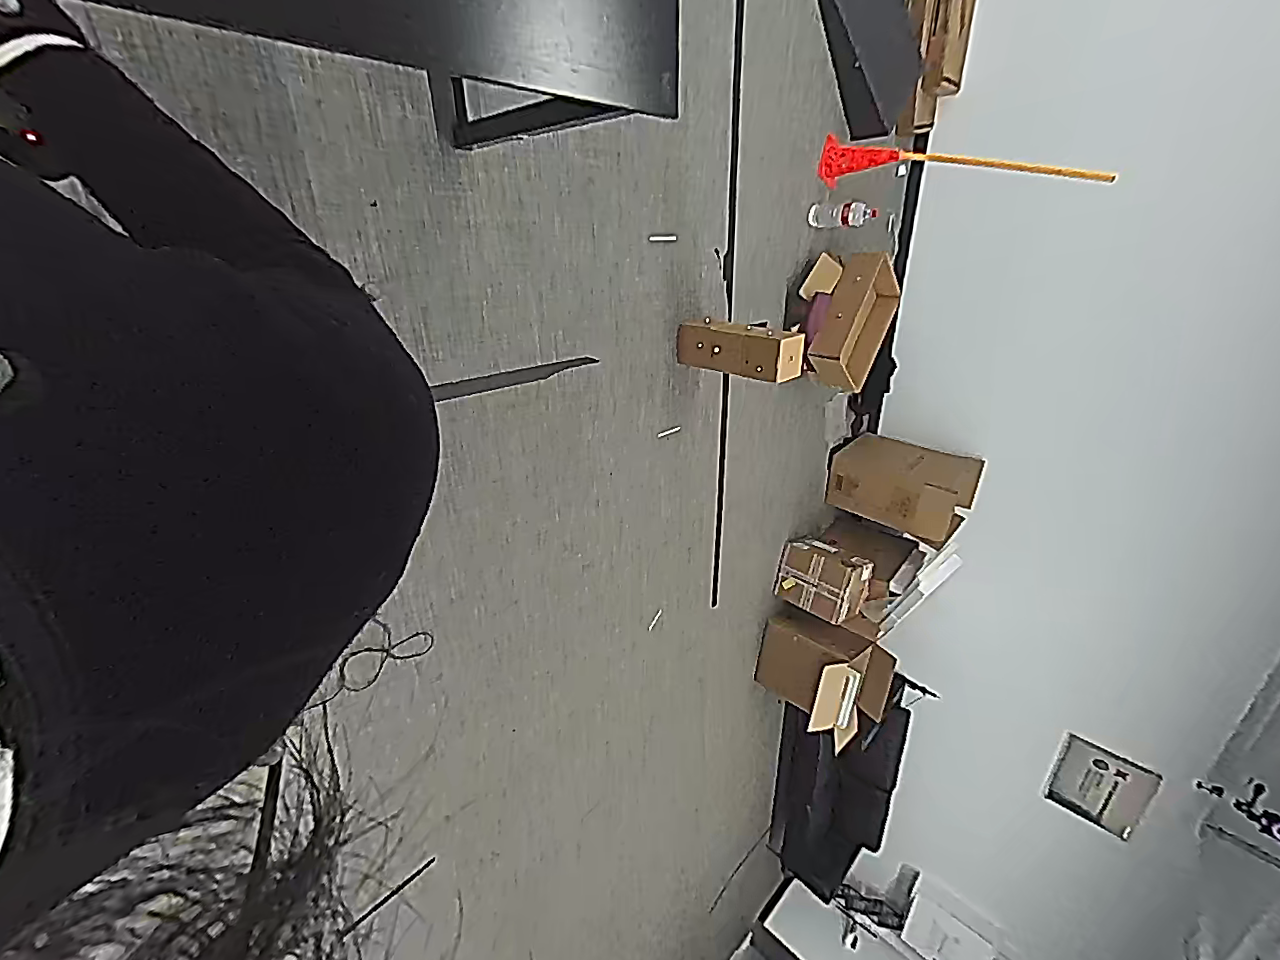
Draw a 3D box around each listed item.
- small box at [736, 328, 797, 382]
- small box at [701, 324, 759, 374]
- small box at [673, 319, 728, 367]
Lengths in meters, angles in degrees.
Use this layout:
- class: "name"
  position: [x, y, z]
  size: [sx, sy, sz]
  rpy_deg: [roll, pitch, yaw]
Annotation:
- class: "small box"
  position: [0.489, -0.492, 2.108]
  size: [0.179, 0.176, 0.168]
  rpy_deg: [-25, 125, -41]
- class: "small box"
  position: [0.371, -0.539, 2.209]
  size: [0.179, 0.176, 0.168]
  rpy_deg: [-23, 123, -40]
- class: "small box"
  position: [0.256, -0.590, 2.315]
  size: [0.168, 0.176, 0.179]
  rpy_deg: [-23, 123, -40]
